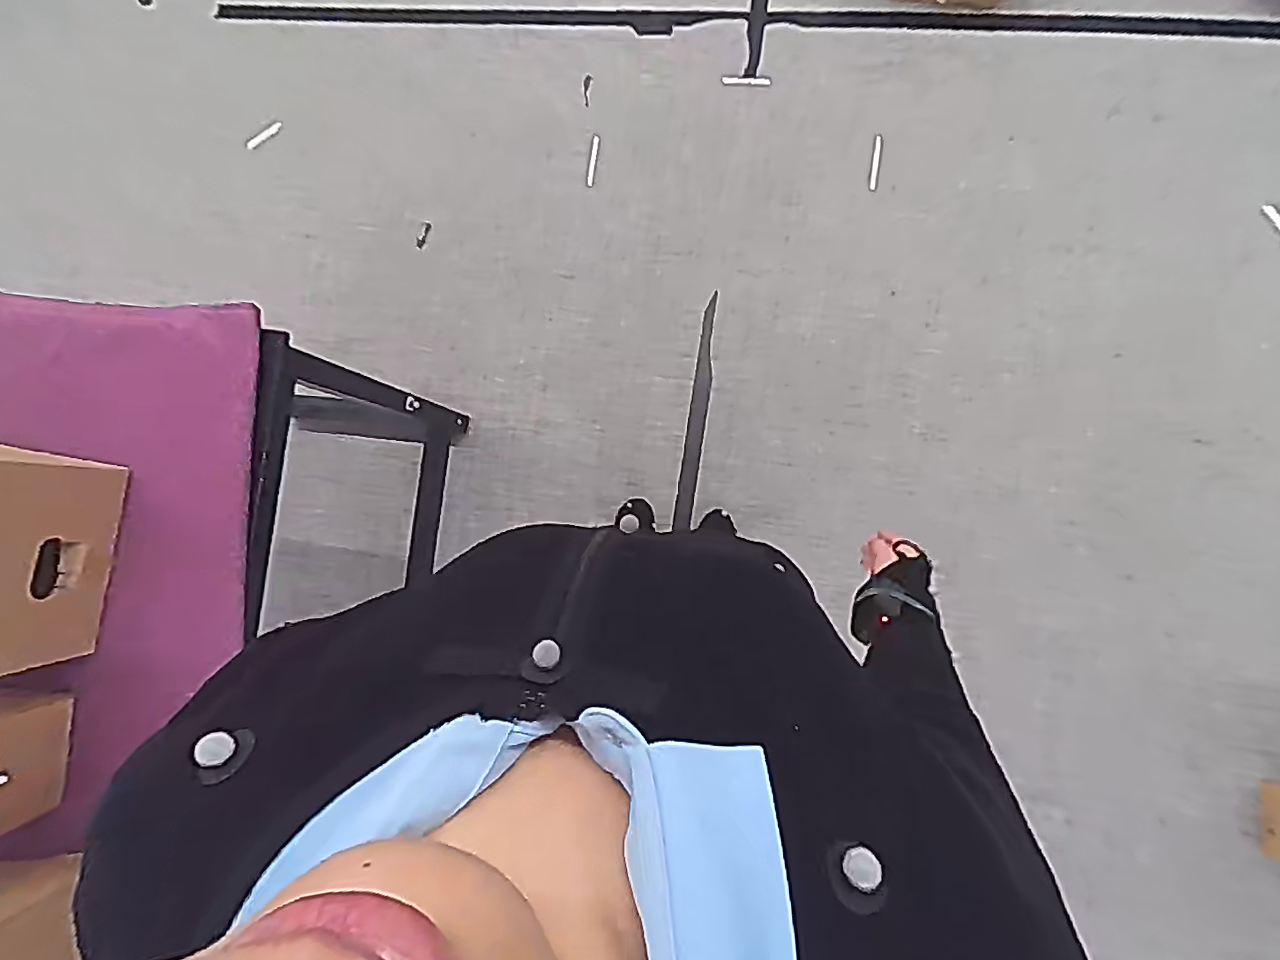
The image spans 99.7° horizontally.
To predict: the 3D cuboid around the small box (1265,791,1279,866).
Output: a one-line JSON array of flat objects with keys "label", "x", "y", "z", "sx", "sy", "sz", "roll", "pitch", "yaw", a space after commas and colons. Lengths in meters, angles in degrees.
[{"label": "small box", "x": 1.566, "y": 0.823, "z": 1.203, "sx": 0.179, "sy": 0.176, "sz": 0.168, "roll": 4, "pitch": 87, "yaw": 6}]
